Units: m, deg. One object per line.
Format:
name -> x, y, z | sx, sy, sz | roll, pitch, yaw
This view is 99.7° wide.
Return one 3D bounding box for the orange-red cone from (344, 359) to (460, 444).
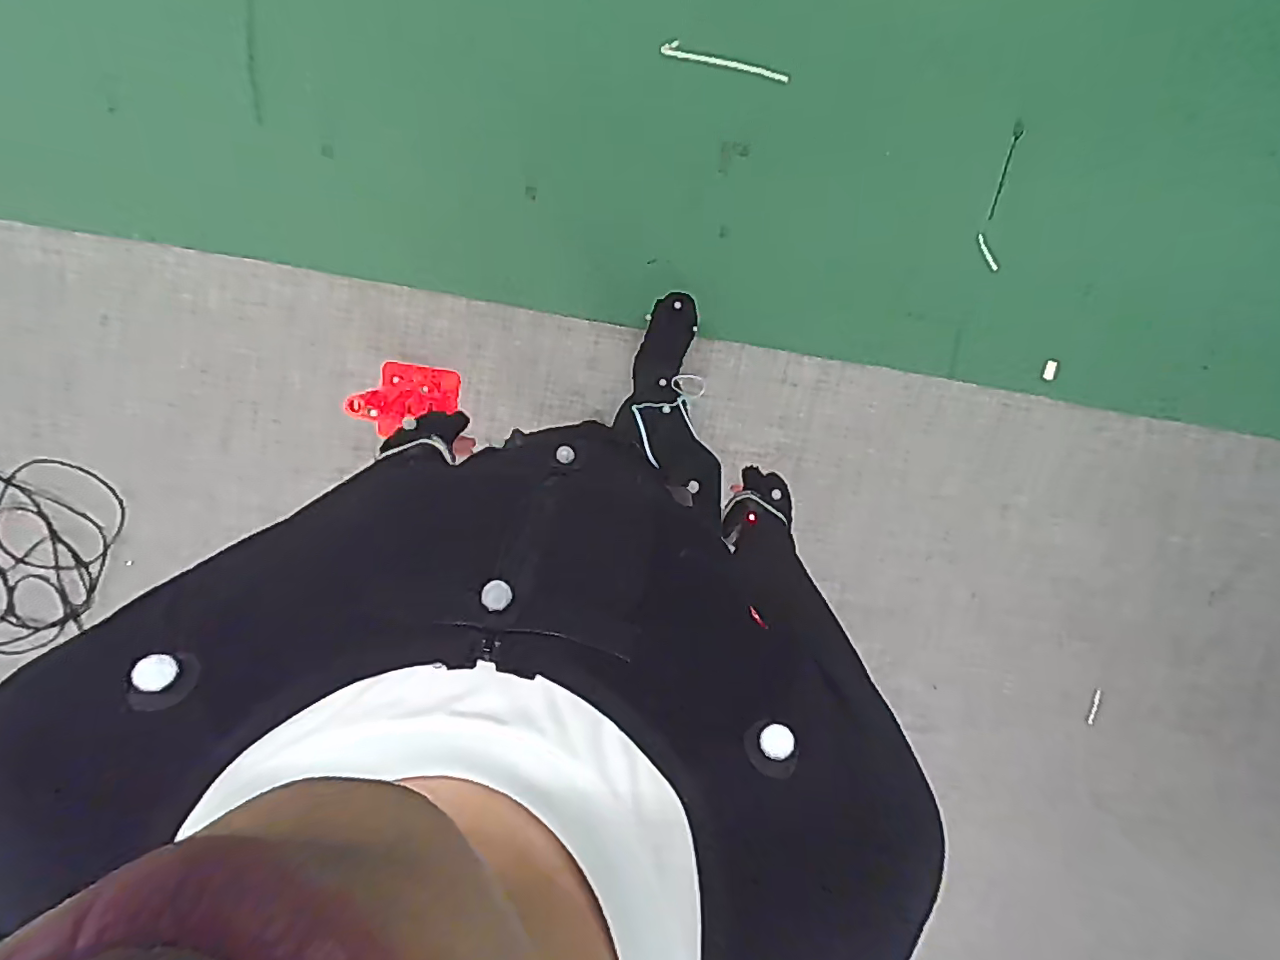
orange-red cone -> -0.569, -0.175, 1.240 | 0.198, 0.360, 0.199 | 9, 99, -3
